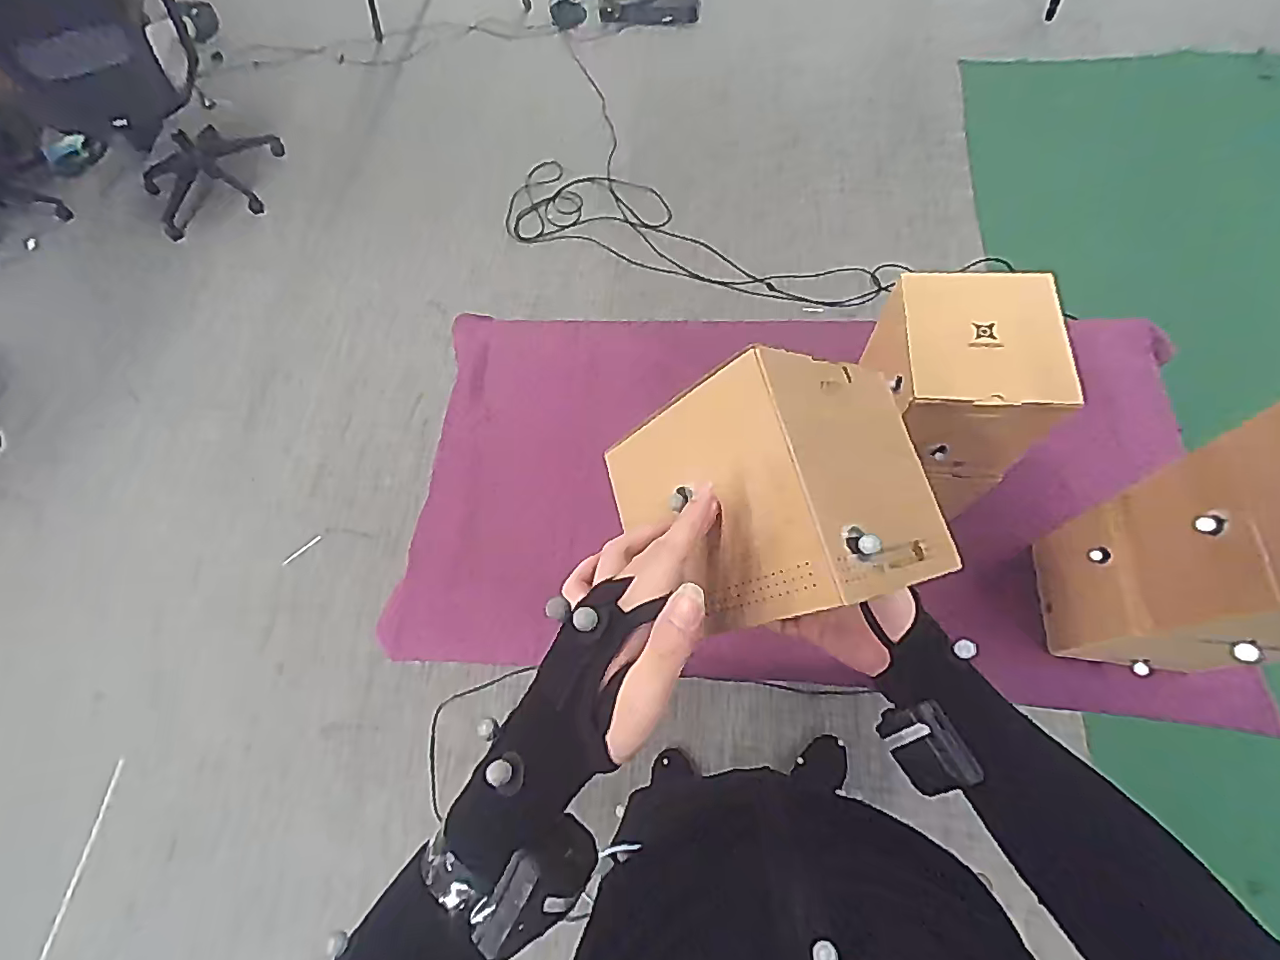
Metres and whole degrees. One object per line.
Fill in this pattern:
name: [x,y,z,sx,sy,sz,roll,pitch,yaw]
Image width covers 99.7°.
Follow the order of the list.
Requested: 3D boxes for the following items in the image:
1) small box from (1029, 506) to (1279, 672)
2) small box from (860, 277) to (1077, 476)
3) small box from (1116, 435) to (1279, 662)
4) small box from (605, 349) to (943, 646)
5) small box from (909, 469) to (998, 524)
small box: [0.648,0.147,0.696,0.179,0.176,0.168,6,66,9]
small box: [0.379,-0.121,0.663,0.168,0.176,0.179,3,68,7]
small box: [0.636,0.076,0.549,0.168,0.176,0.179,5,66,10]
small box: [0.101,0.022,0.430,0.168,0.179,0.176,-1,69,-39]
small box: [0.399,-0.050,0.808,0.168,0.176,0.179,6,67,9]
